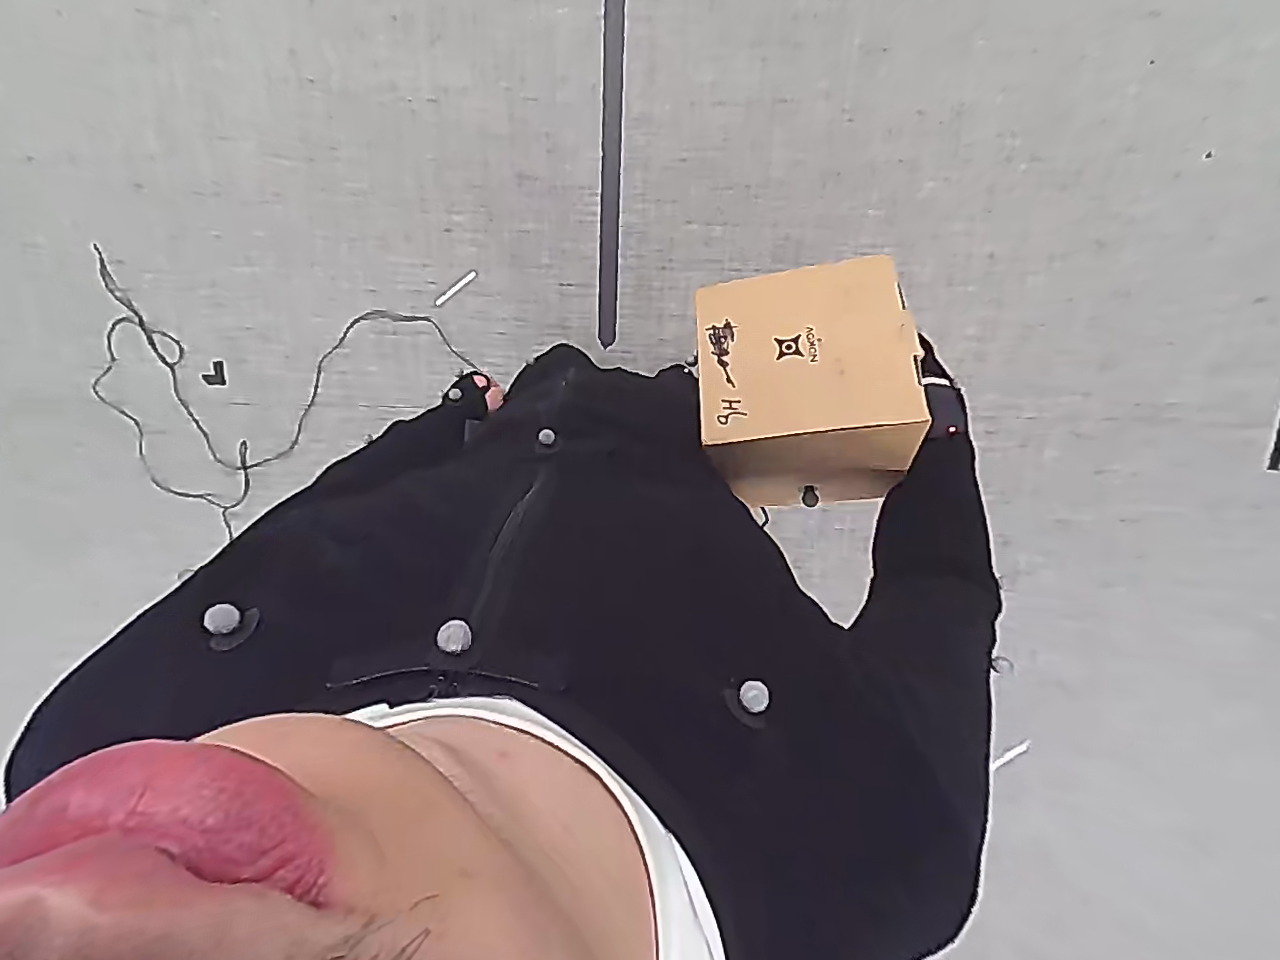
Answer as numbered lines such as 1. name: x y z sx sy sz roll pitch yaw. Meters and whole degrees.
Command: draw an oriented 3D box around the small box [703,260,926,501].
1. small box: 0.161 -0.085 0.543 0.179 0.176 0.168 -5 67 13
